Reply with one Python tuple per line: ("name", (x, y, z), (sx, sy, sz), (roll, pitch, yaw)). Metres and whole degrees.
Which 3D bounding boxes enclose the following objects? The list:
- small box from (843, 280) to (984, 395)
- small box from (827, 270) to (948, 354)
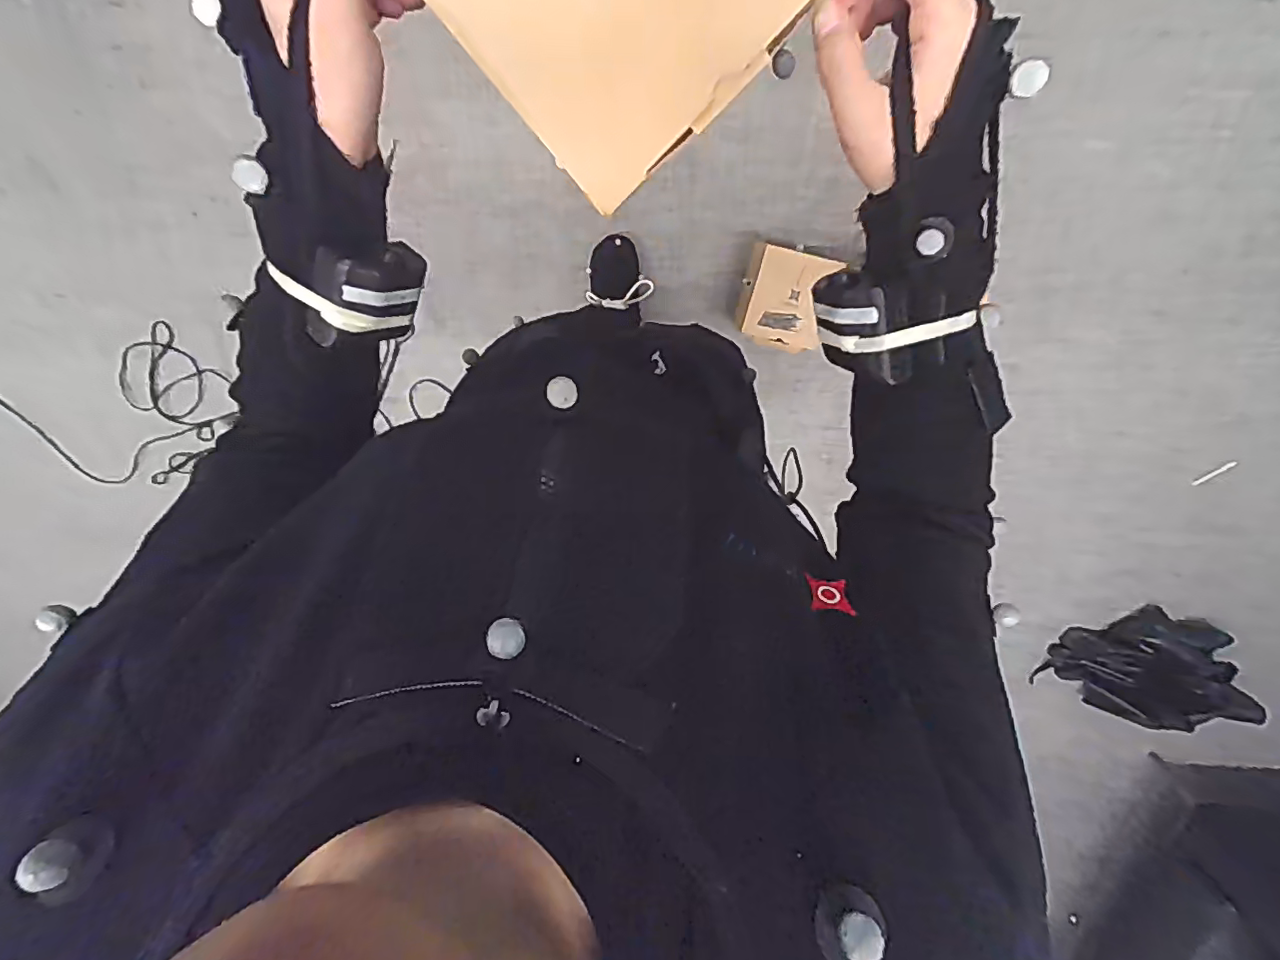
("small box", (0.497, -0.273, 1.018), (0.168, 0.176, 0.179), (5, 114, 1))
("small box", (0.517, -0.351, 1.160), (0.168, 0.176, 0.179), (5, 114, 0))
